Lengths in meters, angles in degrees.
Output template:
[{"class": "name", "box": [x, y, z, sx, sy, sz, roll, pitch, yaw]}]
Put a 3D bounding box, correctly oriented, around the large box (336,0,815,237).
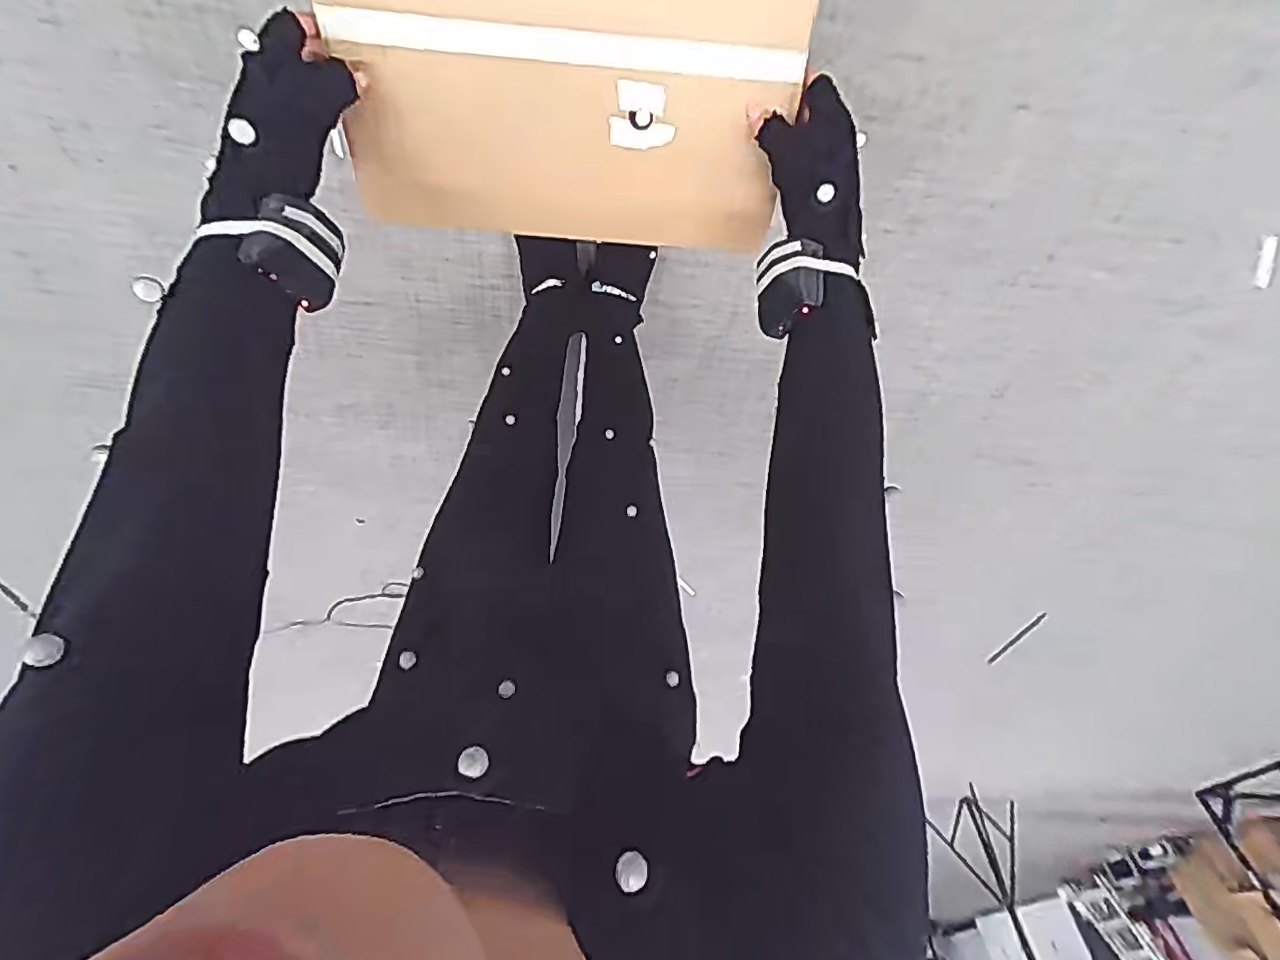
[{"class": "large box", "box": [-0.058, -0.475, 0.573, 0.408, 0.320, 0.320, 3, 132, -3]}]
